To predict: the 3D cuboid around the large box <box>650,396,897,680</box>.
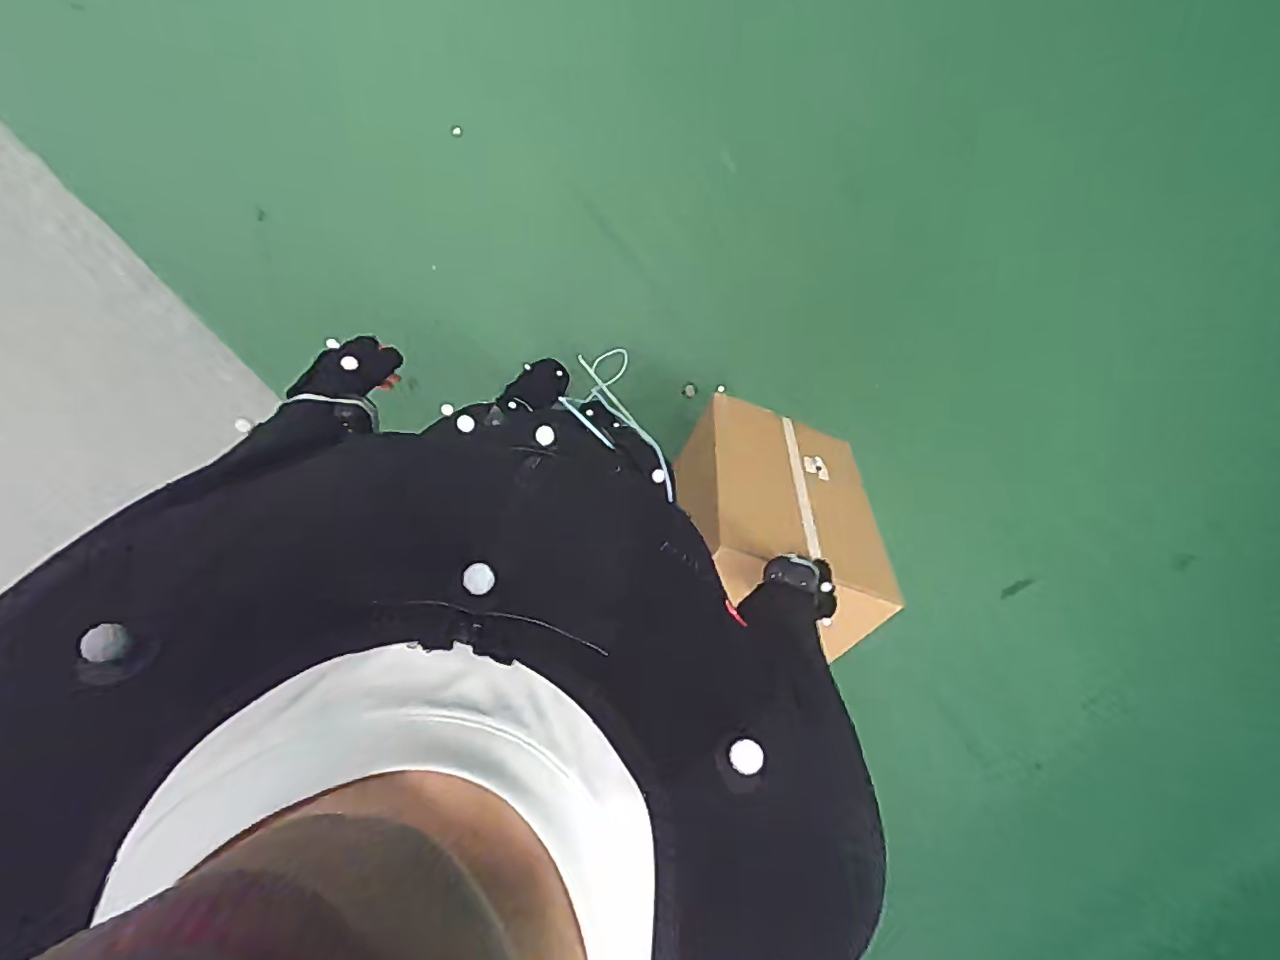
[{"bbox_3d":[0.218,0.111,1.050,0.320,0.408,0.320,19,130,-12],"label":"large box"}]
